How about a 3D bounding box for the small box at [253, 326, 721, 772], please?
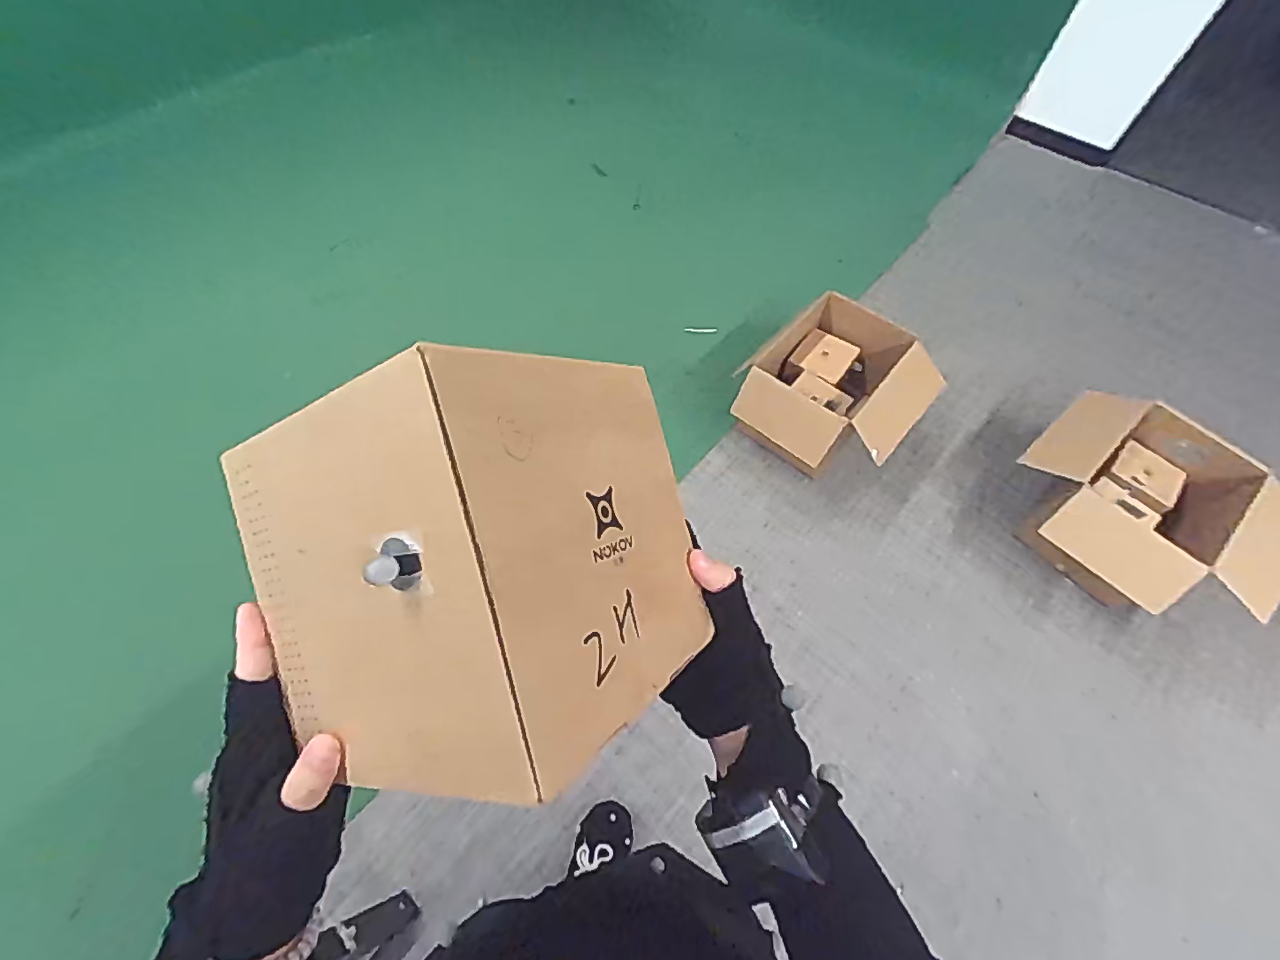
[{"bbox_3d":[-0.080,0.036,0.306,0.176,0.168,0.179,-16,89,31],"label":"small box"}]
